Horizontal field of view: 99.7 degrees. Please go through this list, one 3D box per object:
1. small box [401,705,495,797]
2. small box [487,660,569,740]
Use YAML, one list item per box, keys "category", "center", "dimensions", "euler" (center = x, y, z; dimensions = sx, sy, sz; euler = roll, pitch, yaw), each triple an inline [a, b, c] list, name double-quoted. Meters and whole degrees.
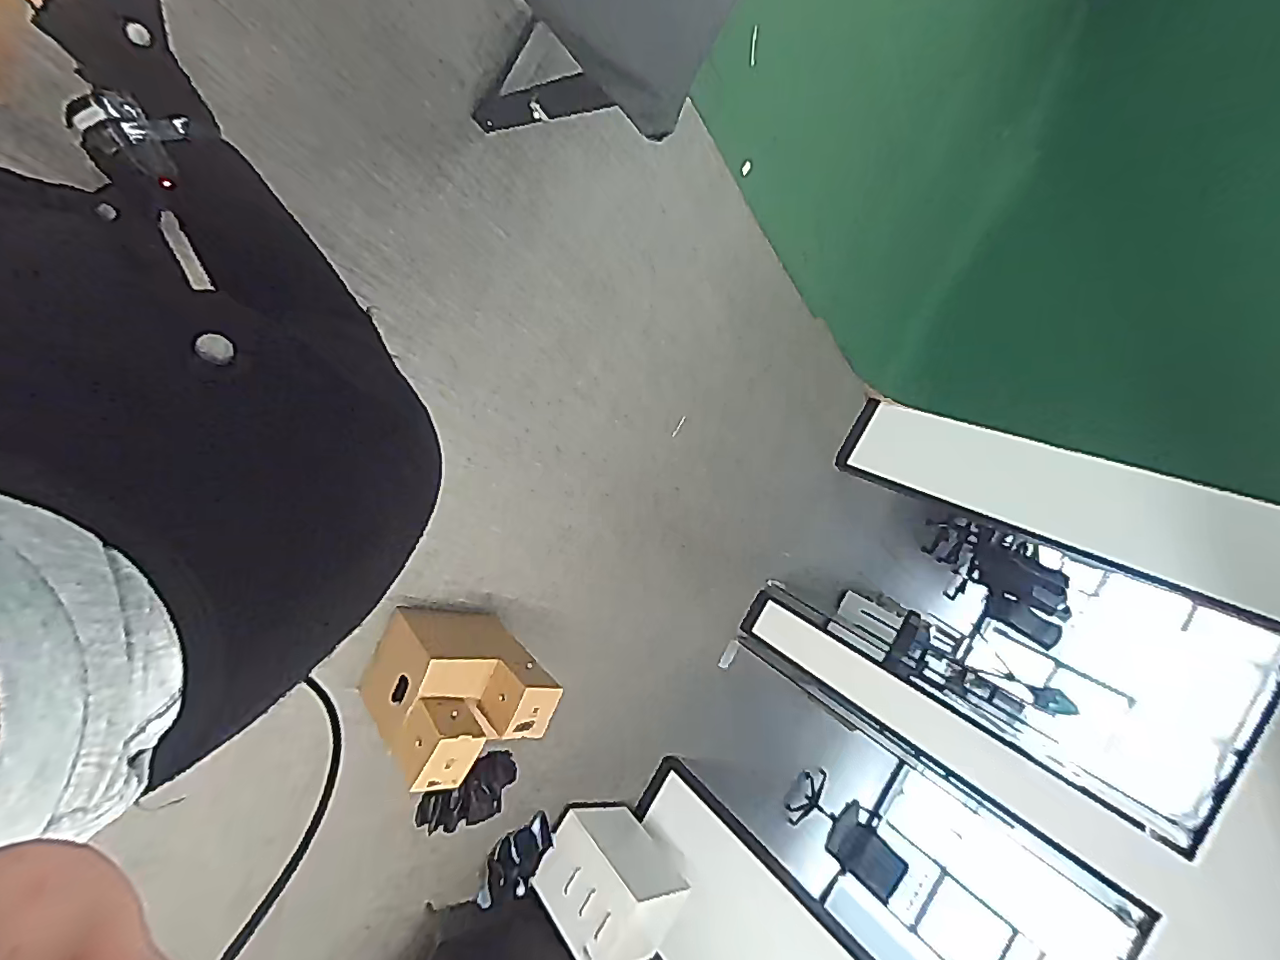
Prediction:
- category: "small box"
  center: [-0.564, 0.780, 1.576]
  dimensions: [0.168, 0.176, 0.179]
  euler: [29, 89, -48]
- category: "small box"
  center: [-0.367, 0.706, 1.740]
  dimensions: [0.168, 0.176, 0.179]
  euler: [26, 87, -49]
